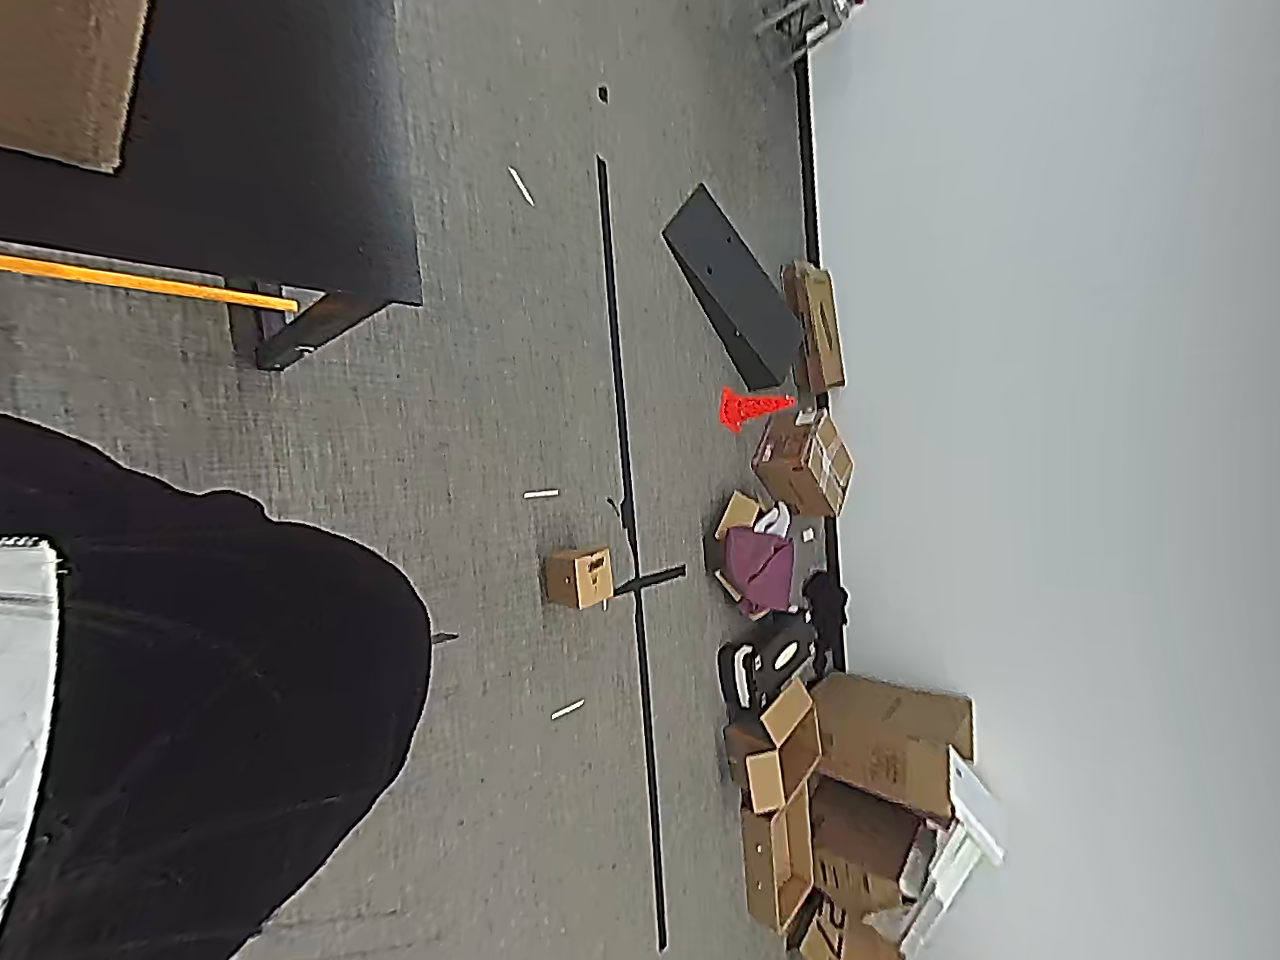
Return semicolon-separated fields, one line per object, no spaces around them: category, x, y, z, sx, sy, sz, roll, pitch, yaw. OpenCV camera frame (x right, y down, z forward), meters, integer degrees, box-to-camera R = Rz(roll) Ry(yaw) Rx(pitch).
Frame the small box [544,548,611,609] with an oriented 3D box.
small box;-0.226;0.343;1.924;0.168;0.176;0.179;-11;97;-48
